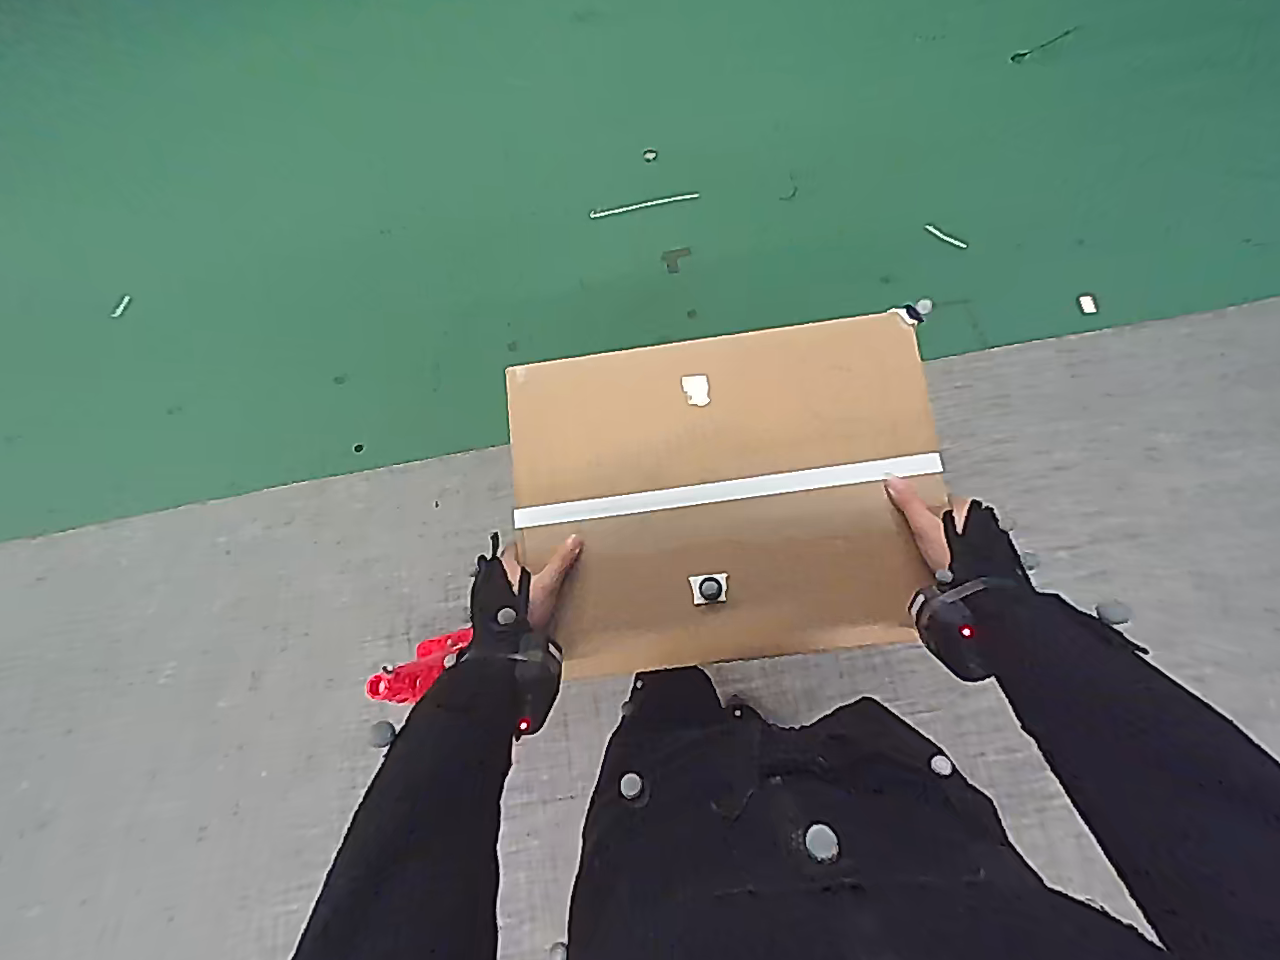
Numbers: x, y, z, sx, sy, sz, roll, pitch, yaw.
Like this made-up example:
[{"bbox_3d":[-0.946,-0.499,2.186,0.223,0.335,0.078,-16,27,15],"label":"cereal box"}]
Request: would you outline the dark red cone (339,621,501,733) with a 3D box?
[{"bbox_3d":[-0.433,0.376,1.040,0.202,0.394,0.201,-18,69,1],"label":"dark red cone"}]
